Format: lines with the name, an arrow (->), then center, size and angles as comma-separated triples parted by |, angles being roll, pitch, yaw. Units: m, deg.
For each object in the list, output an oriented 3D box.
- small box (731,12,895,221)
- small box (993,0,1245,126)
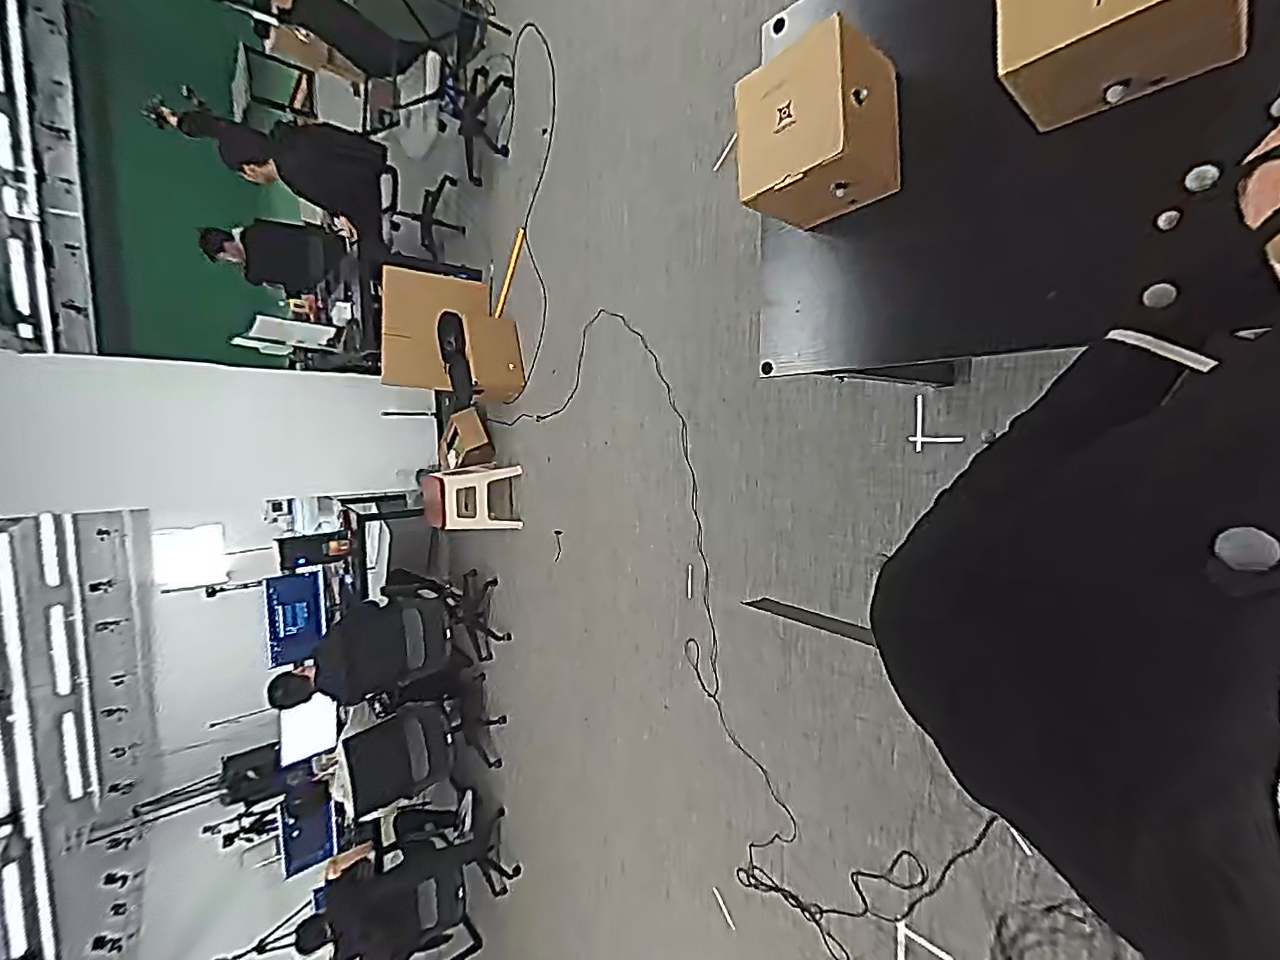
small box -> 0.250, -0.495, 0.778 | 0.168, 0.176, 0.179 | -1, 92, 48
small box -> 0.465, -0.491, 0.524 | 0.168, 0.176, 0.179 | 4, 97, 50
